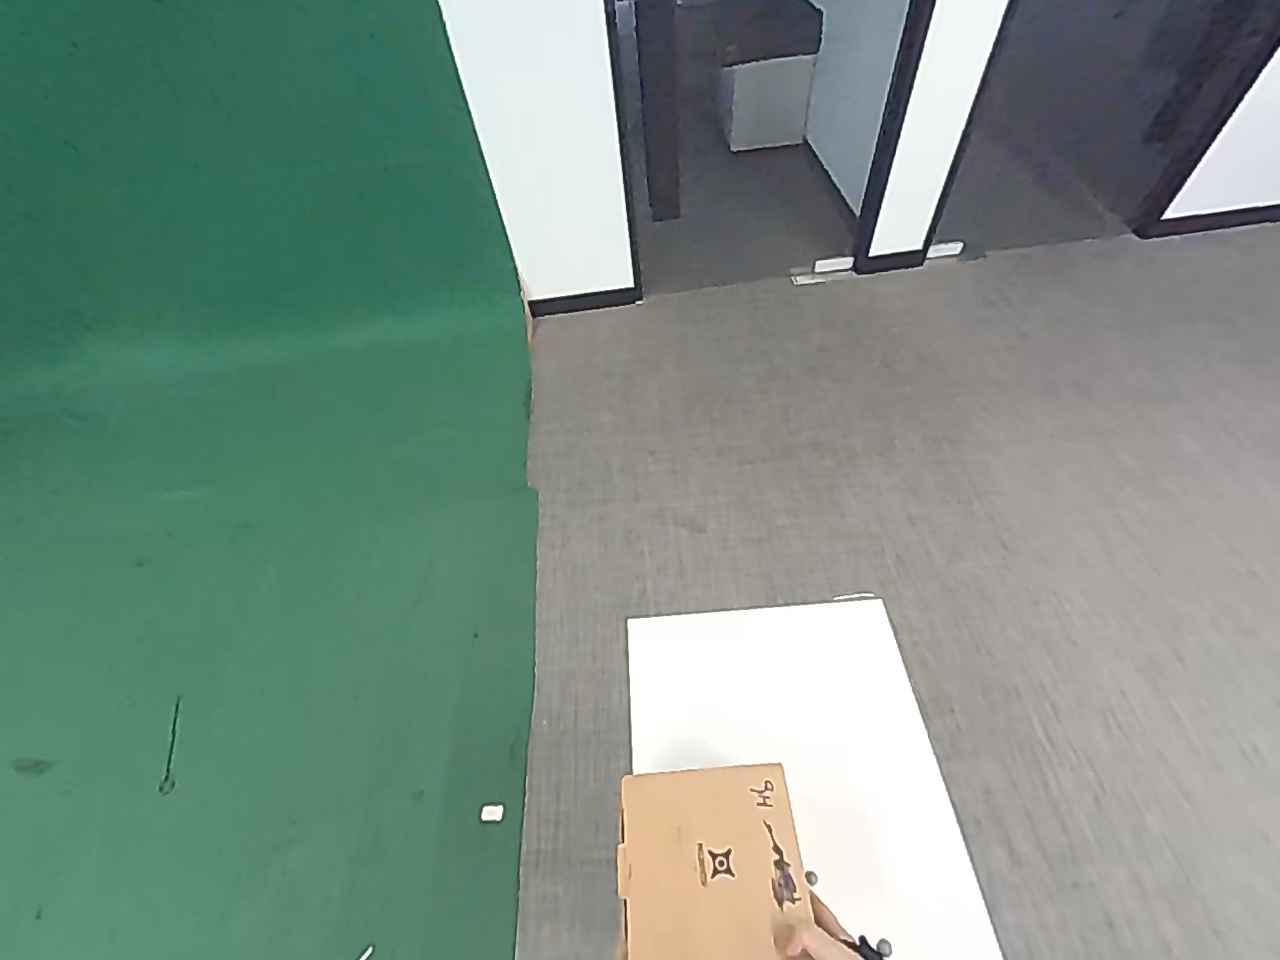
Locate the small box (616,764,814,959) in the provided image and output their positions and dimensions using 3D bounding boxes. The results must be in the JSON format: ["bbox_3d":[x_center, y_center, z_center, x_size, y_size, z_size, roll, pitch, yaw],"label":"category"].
[{"bbox_3d":[0.071,0.420,0.587,0.179,0.176,0.168,-5,52,1],"label":"small box"}]
